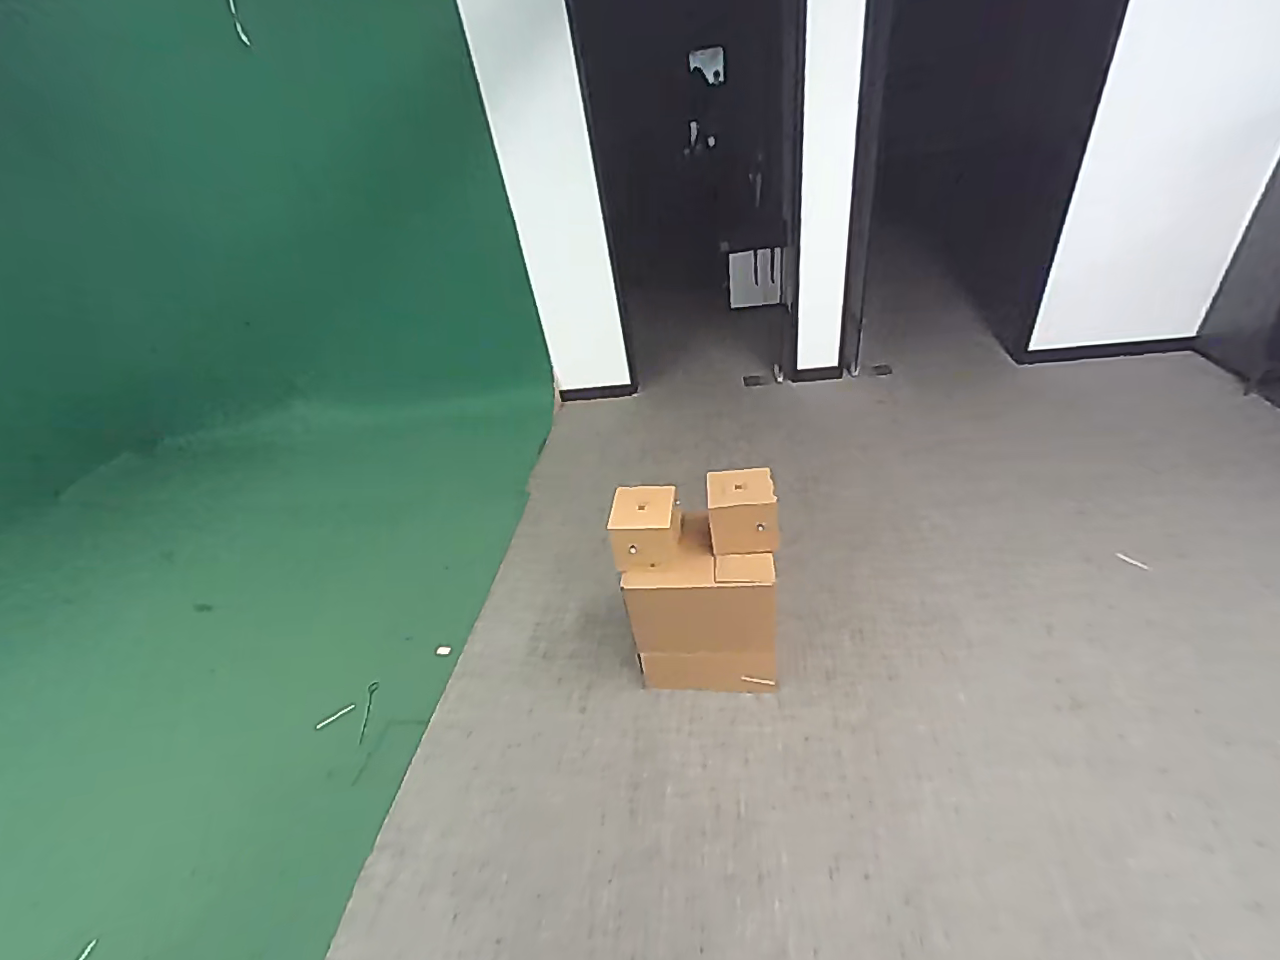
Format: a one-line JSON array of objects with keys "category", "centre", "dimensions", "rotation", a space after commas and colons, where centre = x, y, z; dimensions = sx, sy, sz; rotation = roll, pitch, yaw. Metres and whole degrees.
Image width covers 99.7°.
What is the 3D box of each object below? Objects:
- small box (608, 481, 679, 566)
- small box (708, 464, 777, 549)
[{"category": "small box", "centre": [0.017, 0.122, 1.492], "dimensions": [0.168, 0.176, 0.179], "rotation": [-1, 38, 10]}, {"category": "small box", "centre": [0.283, 0.076, 1.493], "dimensions": [0.179, 0.176, 0.168], "rotation": [-4, 35, 10]}]
